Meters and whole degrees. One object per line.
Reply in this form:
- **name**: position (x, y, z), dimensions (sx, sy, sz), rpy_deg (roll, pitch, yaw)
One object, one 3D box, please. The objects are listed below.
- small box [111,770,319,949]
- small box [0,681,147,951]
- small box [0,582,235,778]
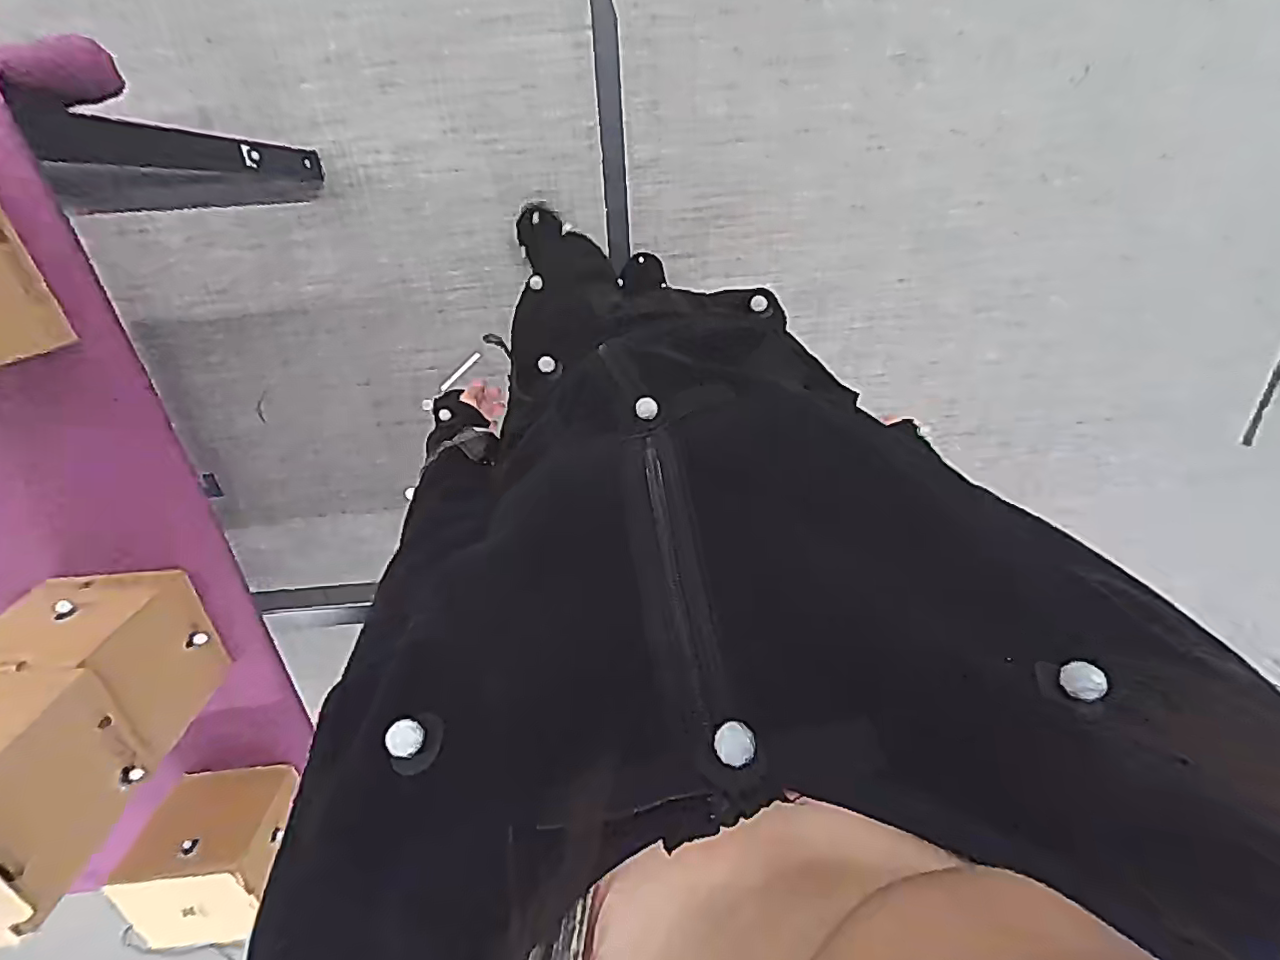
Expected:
- **small box**: position (-0.628, 0.576, 0.835), dimensions (0.179, 0.176, 0.168), rpy_deg (-4, 116, -2)
- **small box**: position (-0.628, 0.311, 0.510), dimensions (0.179, 0.176, 0.168), rpy_deg (-3, 118, -3)
- **small box**: position (-0.648, 0.238, 0.657), dimensions (0.168, 0.176, 0.179), rpy_deg (-4, 117, -4)
